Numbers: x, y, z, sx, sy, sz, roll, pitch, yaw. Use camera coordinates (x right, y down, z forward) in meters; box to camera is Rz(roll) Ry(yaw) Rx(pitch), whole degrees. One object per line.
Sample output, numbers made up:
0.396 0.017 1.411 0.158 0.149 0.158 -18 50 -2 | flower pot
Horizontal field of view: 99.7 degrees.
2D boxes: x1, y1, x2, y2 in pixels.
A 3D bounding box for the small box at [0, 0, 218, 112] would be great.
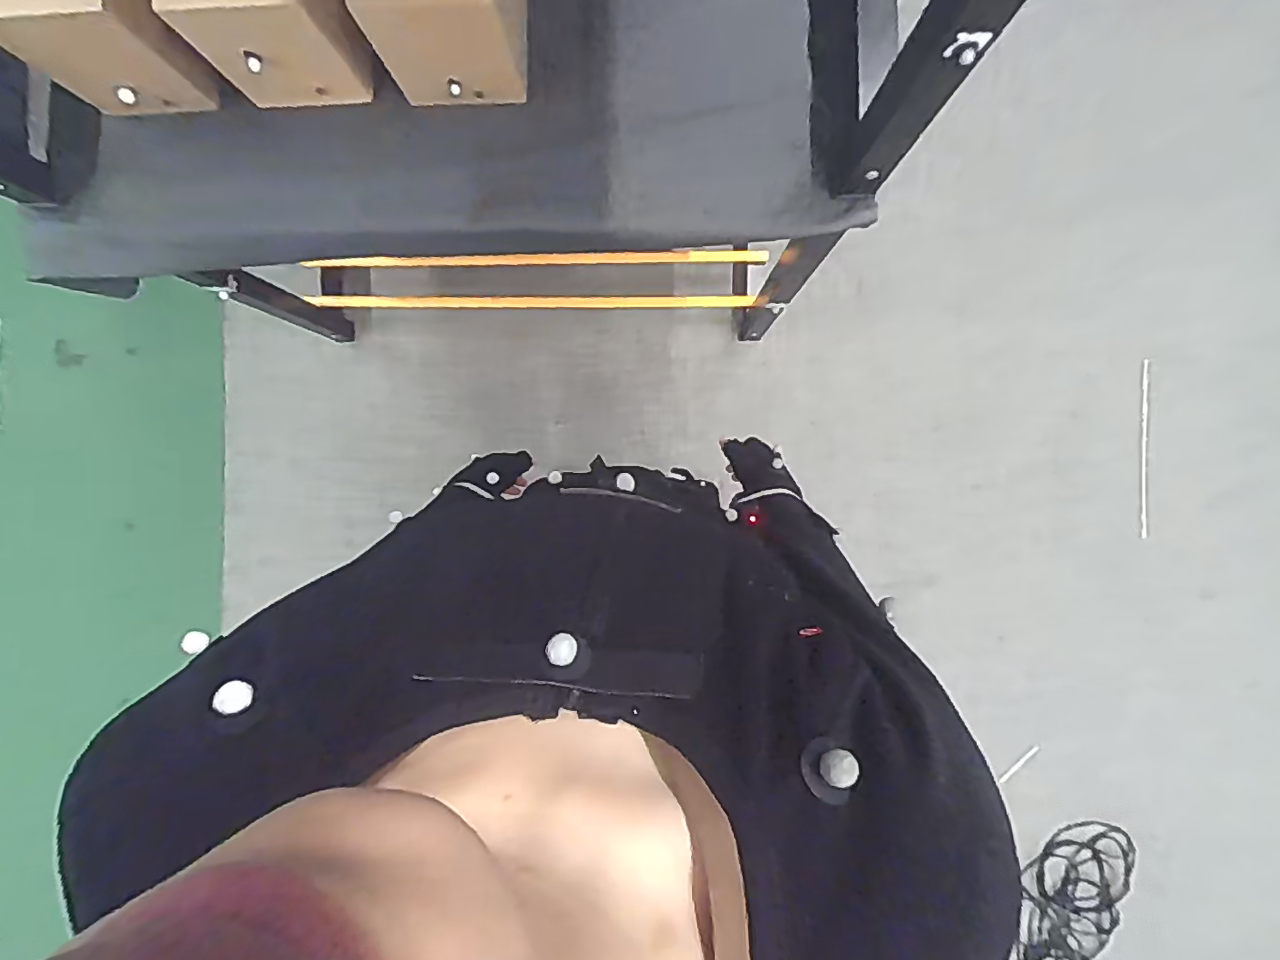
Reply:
-0.678 -0.608 0.682 0.168 0.176 0.179 -2 91 2 | small box
